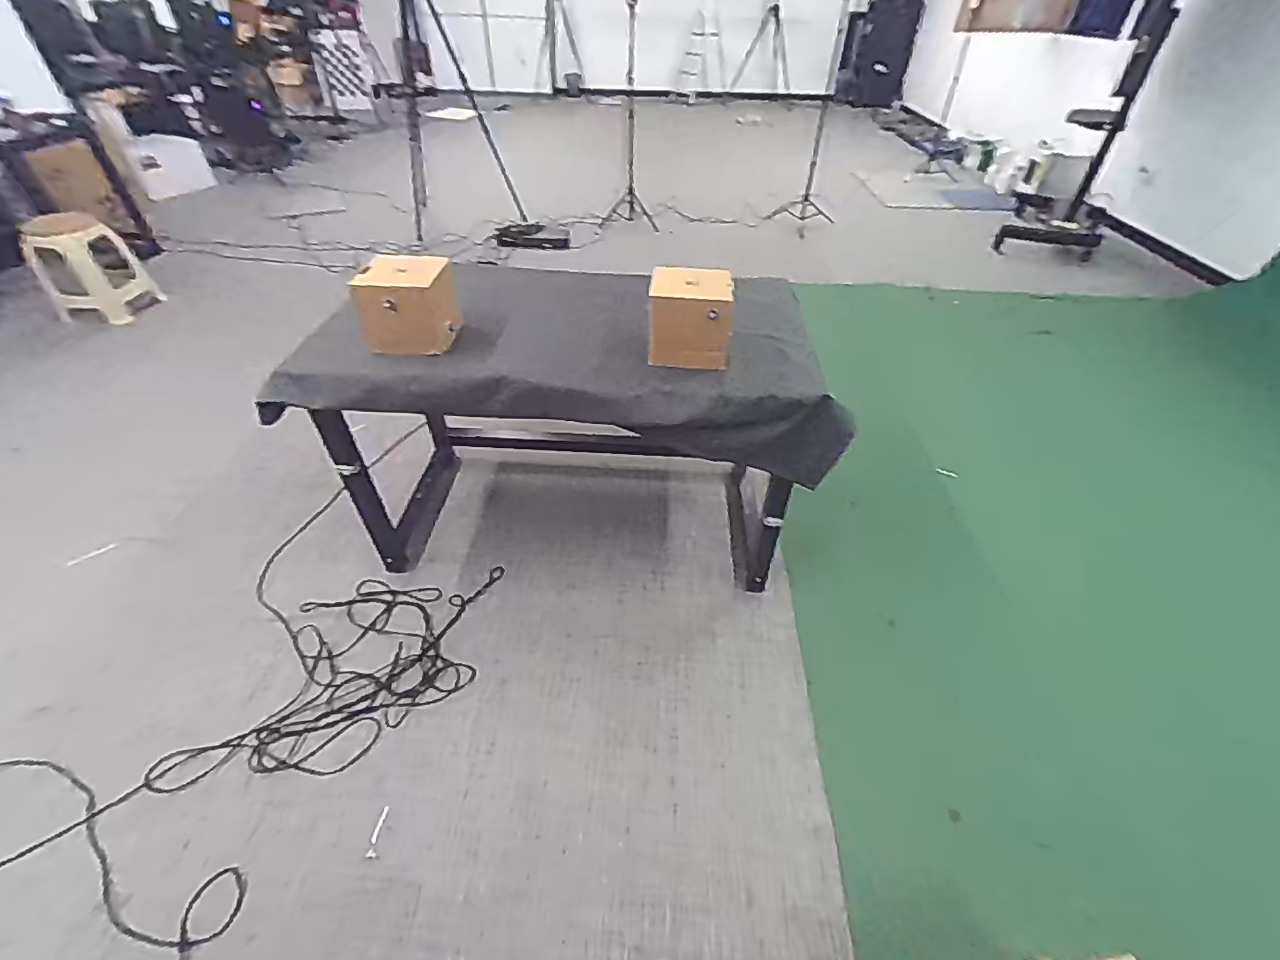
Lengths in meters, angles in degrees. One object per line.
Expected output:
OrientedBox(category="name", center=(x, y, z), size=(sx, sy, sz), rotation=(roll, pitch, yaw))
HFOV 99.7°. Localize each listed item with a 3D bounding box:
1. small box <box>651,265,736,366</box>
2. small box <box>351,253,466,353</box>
OrientedBox(category="small box", center=(0.118, -0.371, 1.223), size=(0.179, 0.176, 0.168), rotation=(4, 43, 3))
OrientedBox(category="small box", center=(-0.523, -0.408, 1.251), size=(0.179, 0.176, 0.168), rotation=(3, 44, 0))
